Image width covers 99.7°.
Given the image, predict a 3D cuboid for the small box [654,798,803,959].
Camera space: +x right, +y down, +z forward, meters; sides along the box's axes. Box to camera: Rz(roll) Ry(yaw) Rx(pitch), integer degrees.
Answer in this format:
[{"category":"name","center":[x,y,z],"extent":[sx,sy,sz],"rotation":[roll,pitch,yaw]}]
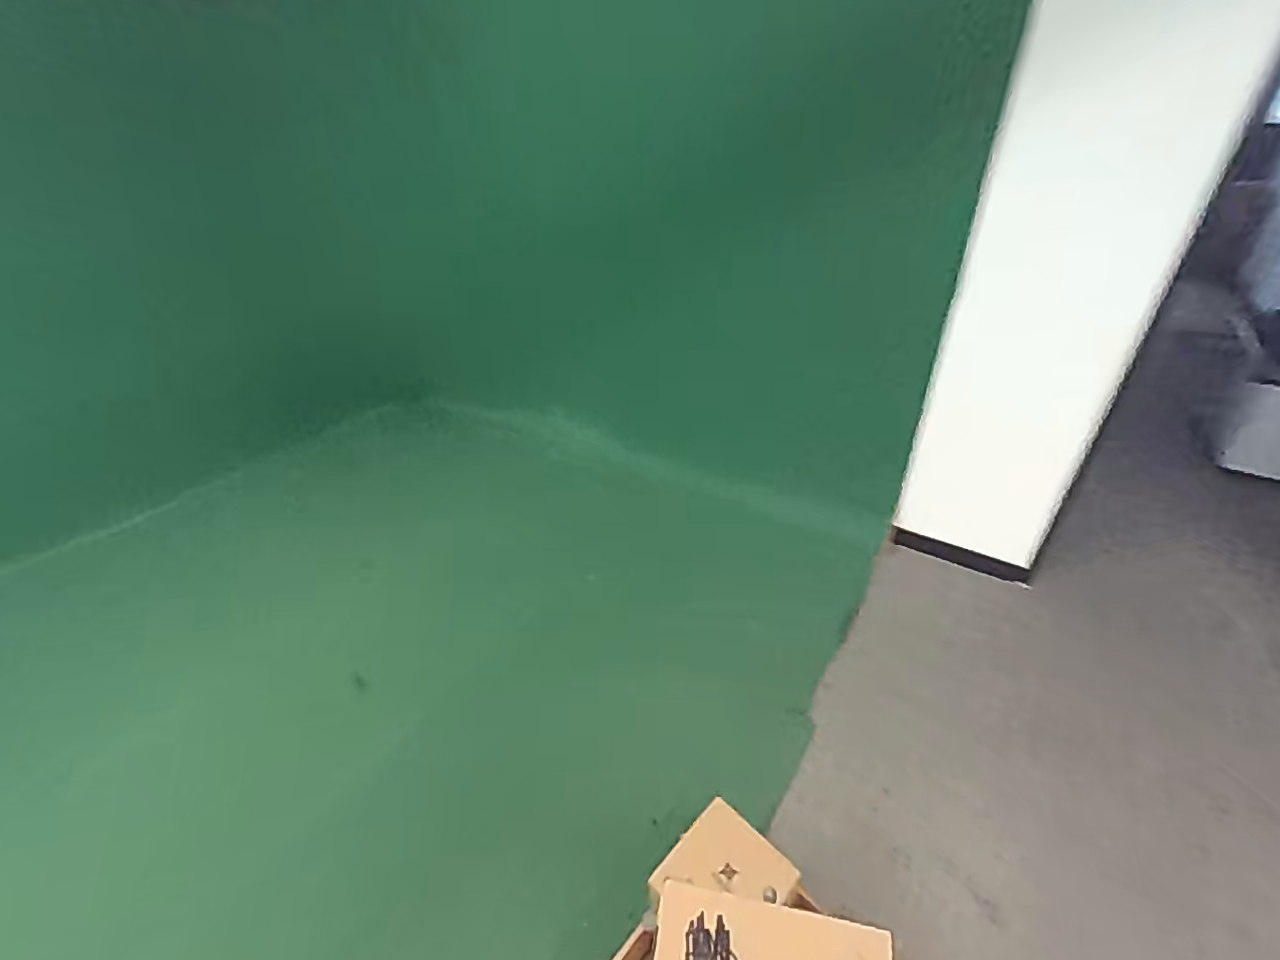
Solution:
[{"category":"small box","center":[0.138,0.676,0.879],"extent":[0.179,0.176,0.168],"rotation":[-32,45,-33]}]

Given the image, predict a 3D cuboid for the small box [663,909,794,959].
[{"category":"small box","center":[0.151,0.810,0.974],"extent":[0.179,0.176,0.168],"rotation":[-31,44,-31]}]
